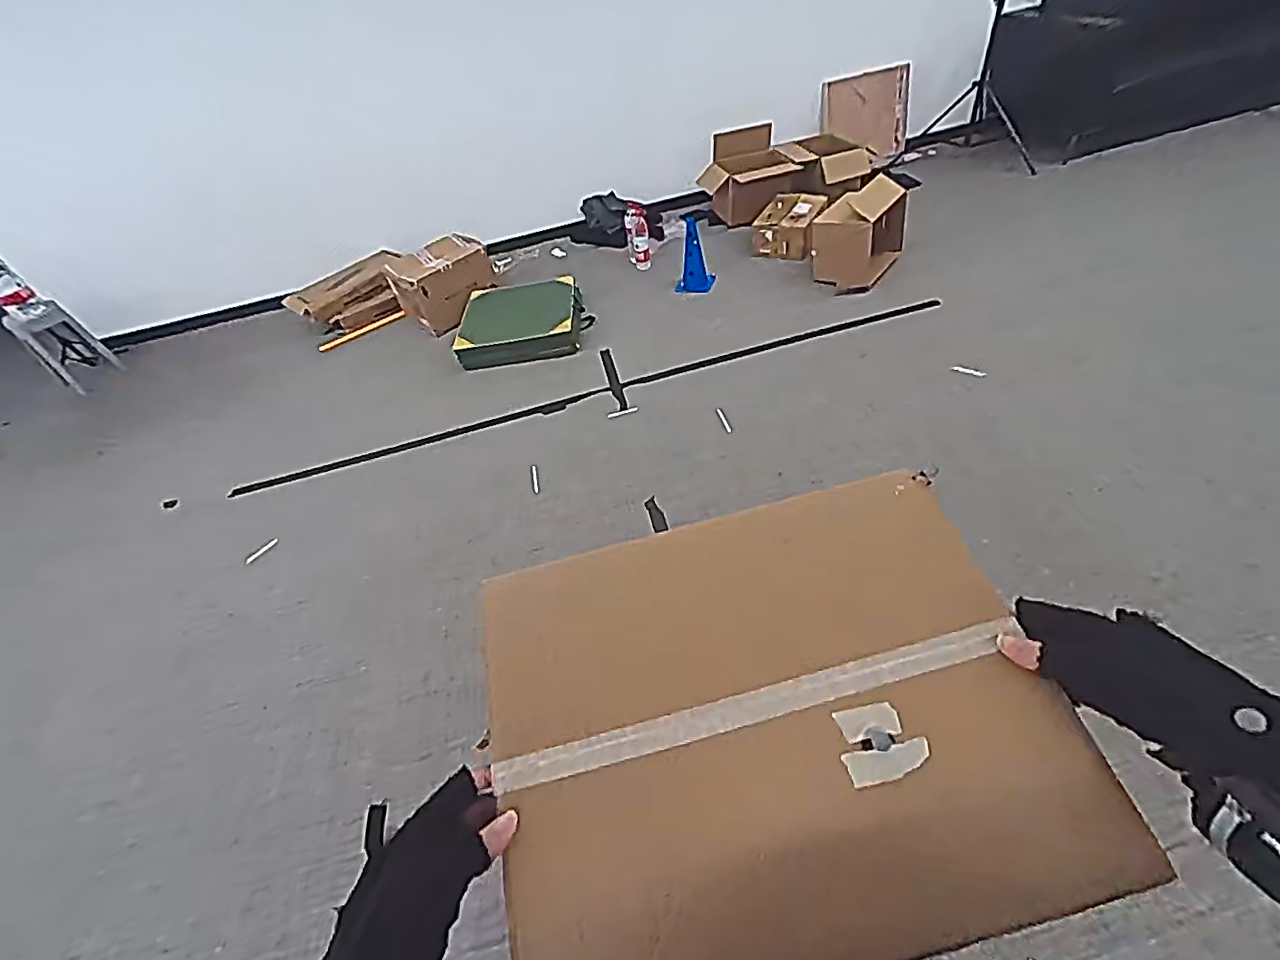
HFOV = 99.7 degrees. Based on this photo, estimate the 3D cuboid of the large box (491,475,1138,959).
[{"bbox_3d":[0.107,0.249,0.539,0.408,0.320,0.320,-15,58,-3],"label":"large box"}]
